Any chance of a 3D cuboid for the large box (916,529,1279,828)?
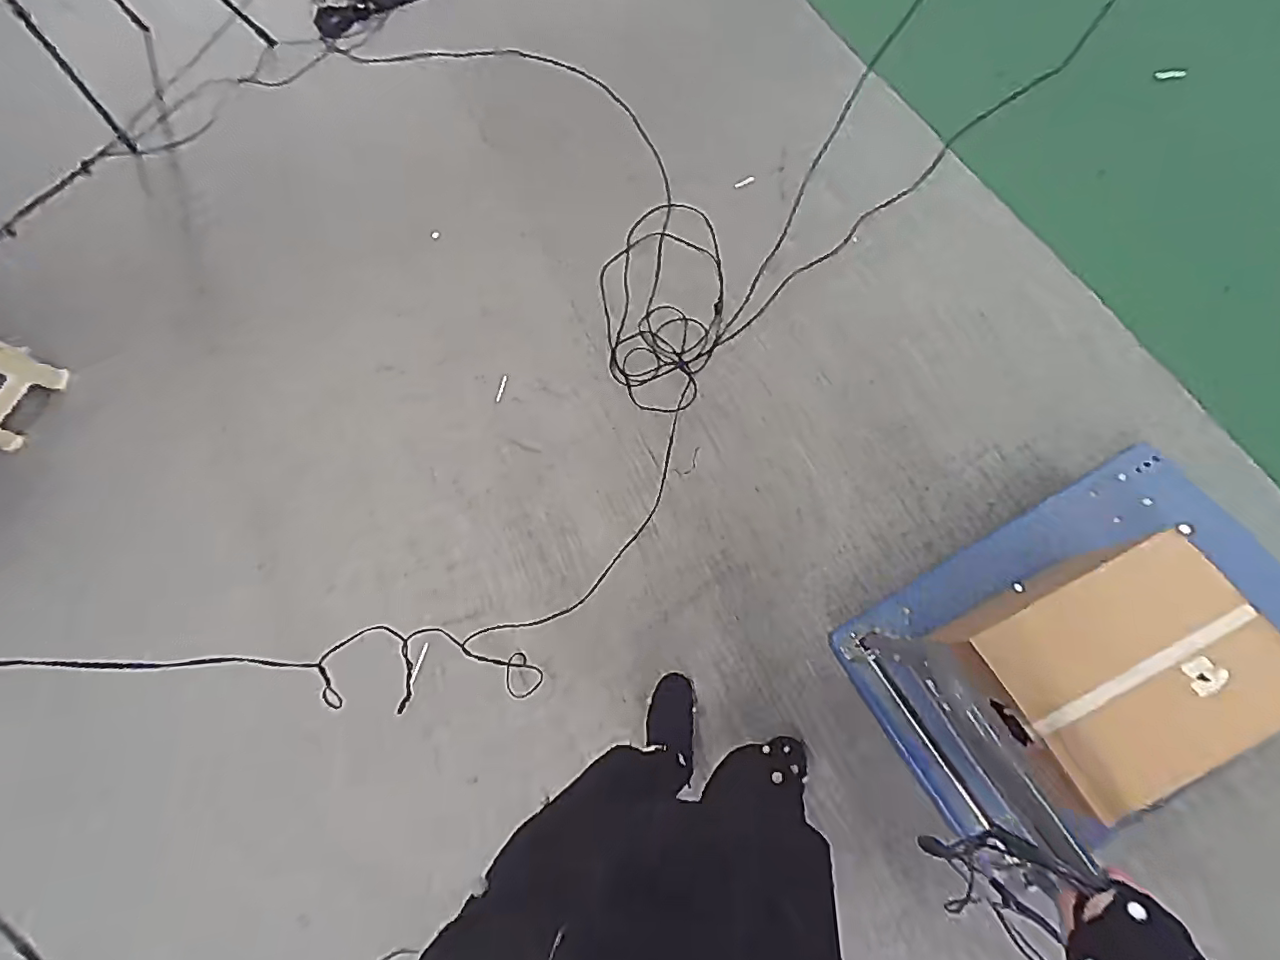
[{"bbox_3d":[0.817,0.349,1.000,0.408,0.320,0.320,-29,70,0],"label":"large box"}]
